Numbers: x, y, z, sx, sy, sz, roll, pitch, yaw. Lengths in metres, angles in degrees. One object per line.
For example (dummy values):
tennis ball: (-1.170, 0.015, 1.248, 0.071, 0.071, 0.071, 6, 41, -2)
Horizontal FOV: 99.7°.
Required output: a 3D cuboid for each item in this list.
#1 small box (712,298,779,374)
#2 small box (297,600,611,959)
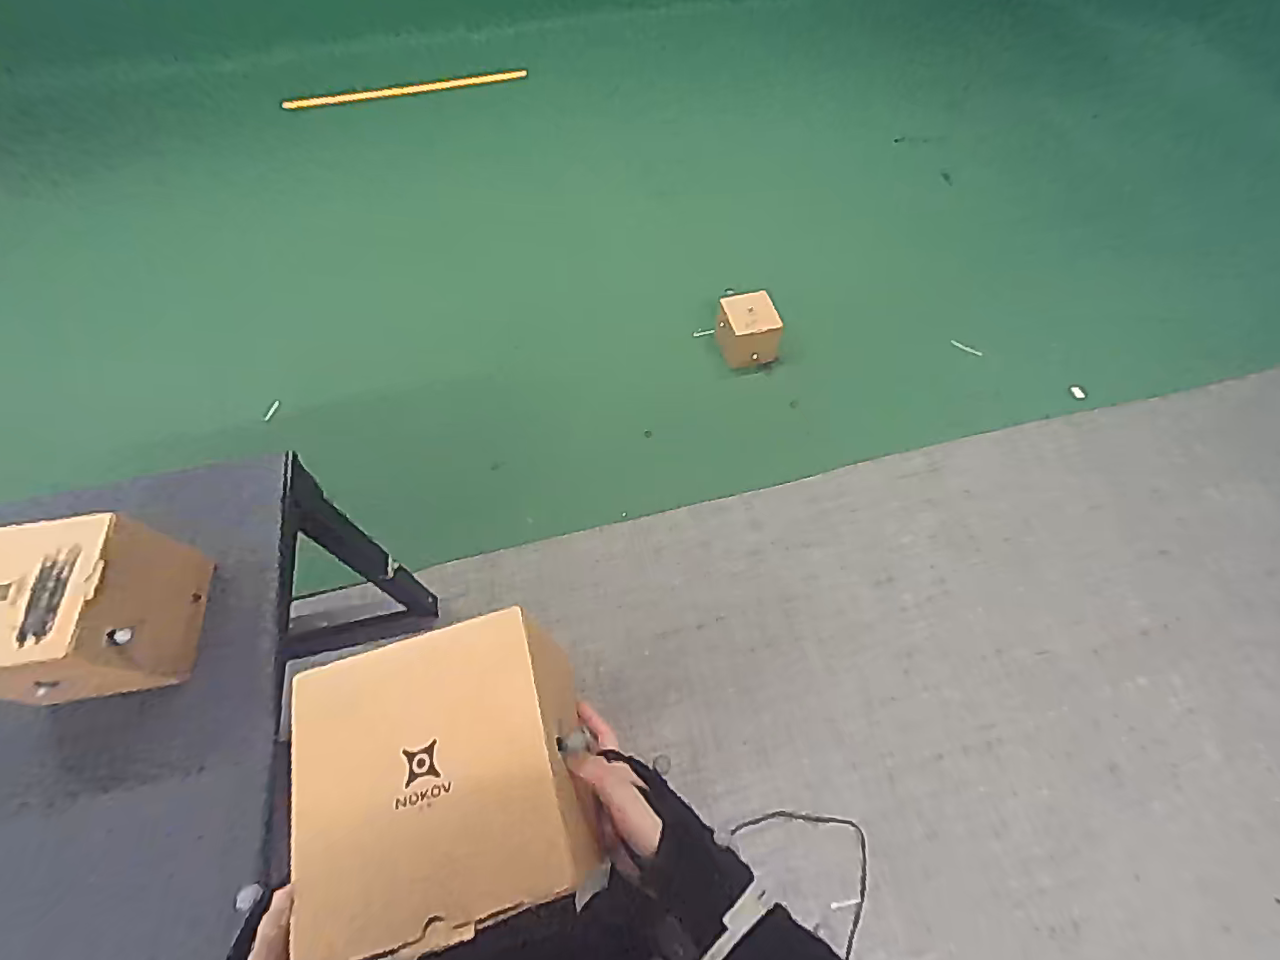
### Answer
small box: (0.356, -0.493, 1.862, 0.168, 0.176, 0.179, -11, 61, -7)
small box: (-0.124, 0.215, 0.408, 0.168, 0.176, 0.179, -15, 62, -5)
